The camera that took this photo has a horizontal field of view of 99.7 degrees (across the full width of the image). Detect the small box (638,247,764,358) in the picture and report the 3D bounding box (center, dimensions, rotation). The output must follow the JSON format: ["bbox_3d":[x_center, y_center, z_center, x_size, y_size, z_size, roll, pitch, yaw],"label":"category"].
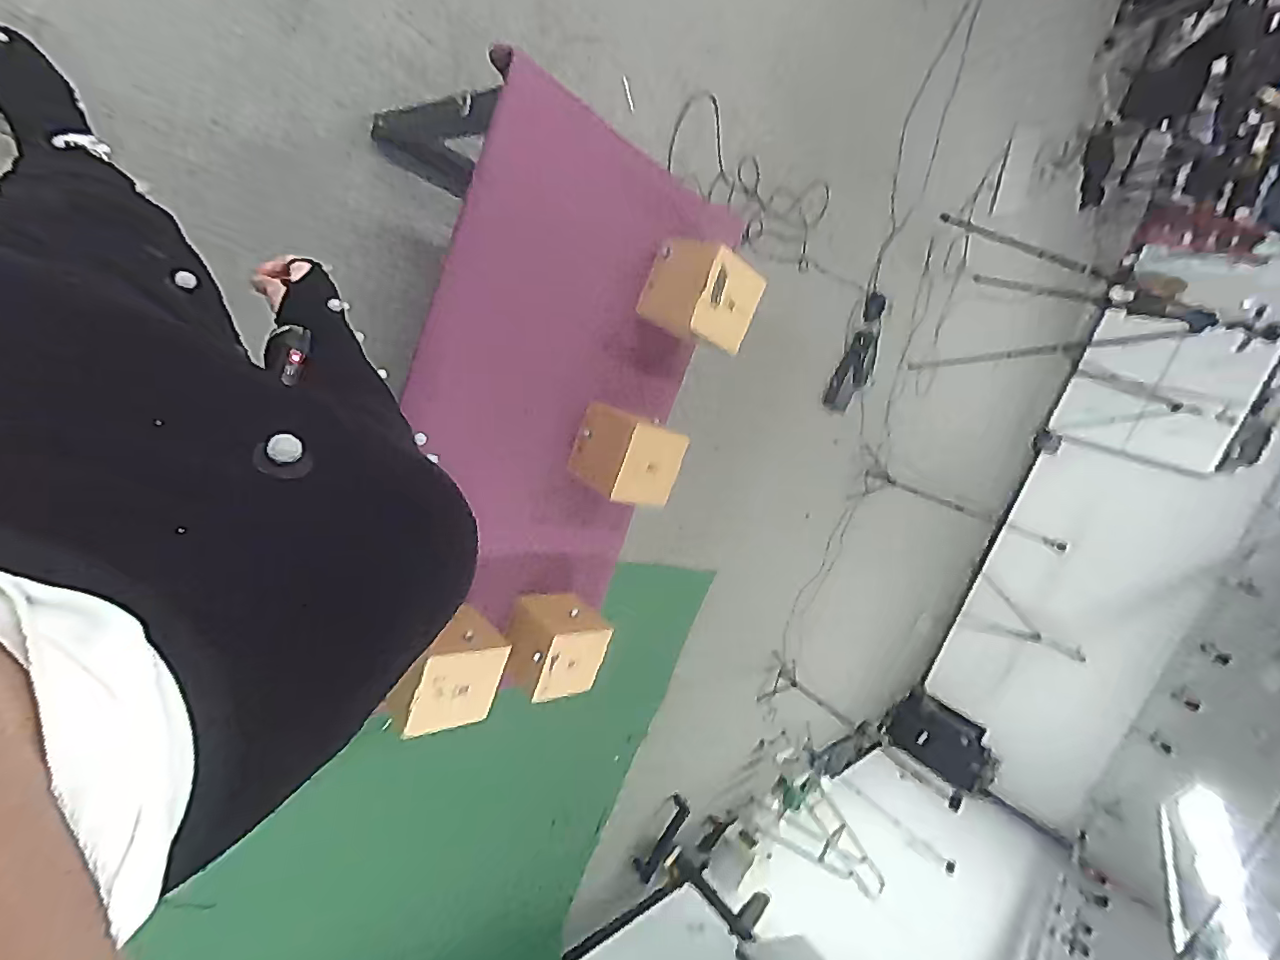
[{"bbox_3d":[0.124,-0.380,1.152,0.179,0.176,0.168,14,102,-47],"label":"small box"}]

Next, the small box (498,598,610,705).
[{"bbox_3d":[-0.206,0.386,1.254,0.179,0.176,0.168,10,104,-47],"label":"small box"}]

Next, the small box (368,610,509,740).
[{"bbox_3d":[-0.392,0.365,1.049,0.179,0.176,0.168,12,101,-48],"label":"small box"}]

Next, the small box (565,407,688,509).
[{"bbox_3d":[-0.032,-0.049,1.188,0.179,0.176,0.168,12,102,-47],"label":"small box"}]
